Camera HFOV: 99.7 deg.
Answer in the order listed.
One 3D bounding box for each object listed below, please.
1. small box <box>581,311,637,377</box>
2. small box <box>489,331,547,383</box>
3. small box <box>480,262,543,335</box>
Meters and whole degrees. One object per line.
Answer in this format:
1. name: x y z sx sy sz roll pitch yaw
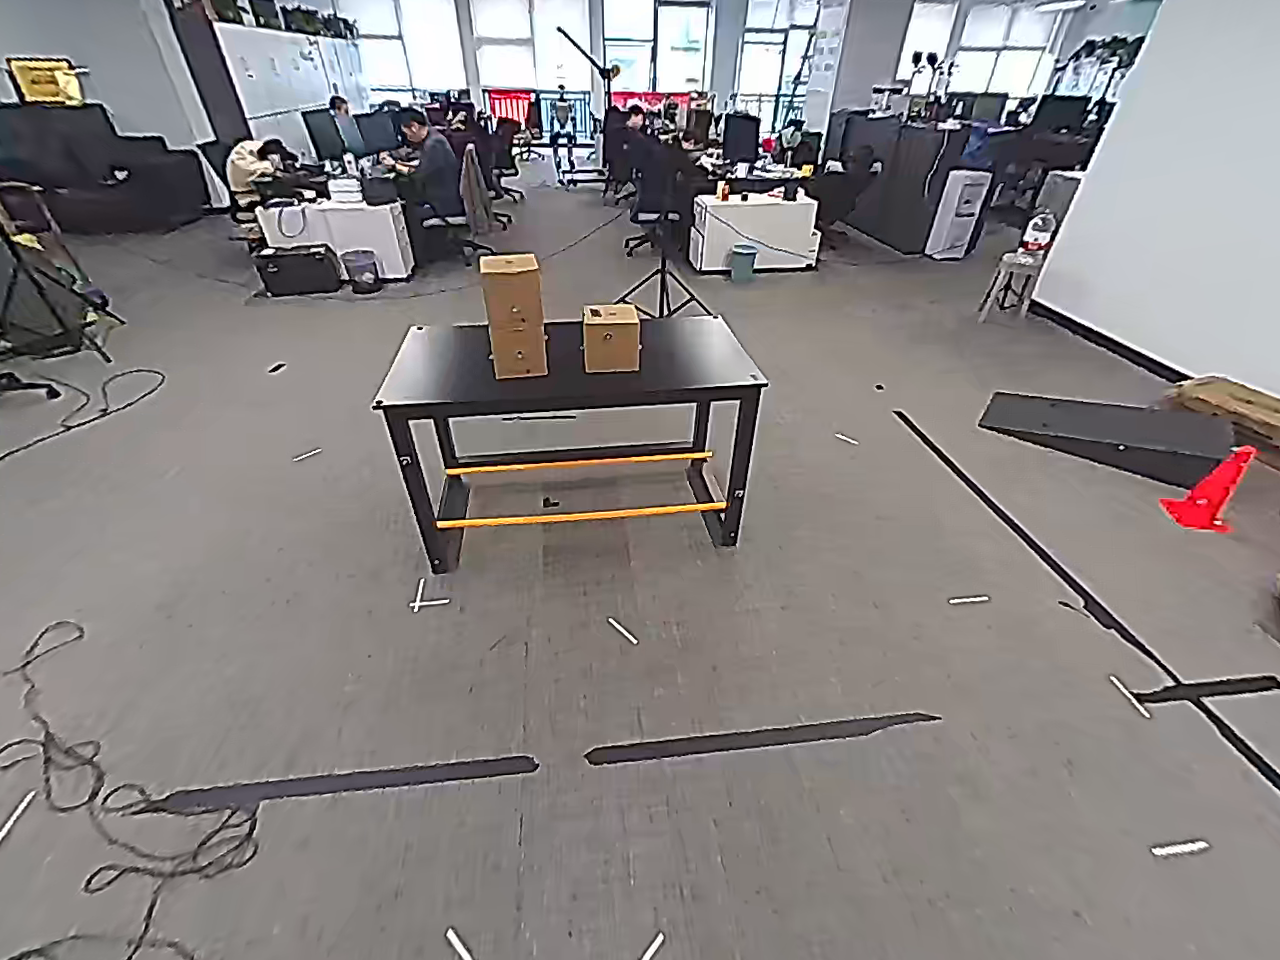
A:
1. small box: -0.103 -0.454 1.807 0.179 0.176 0.168 -3 37 -6
2. small box: -0.398 -0.428 1.771 0.168 0.176 0.179 -7 38 -10
3. small box: -0.398 -0.563 1.675 0.168 0.176 0.179 -8 38 -11
